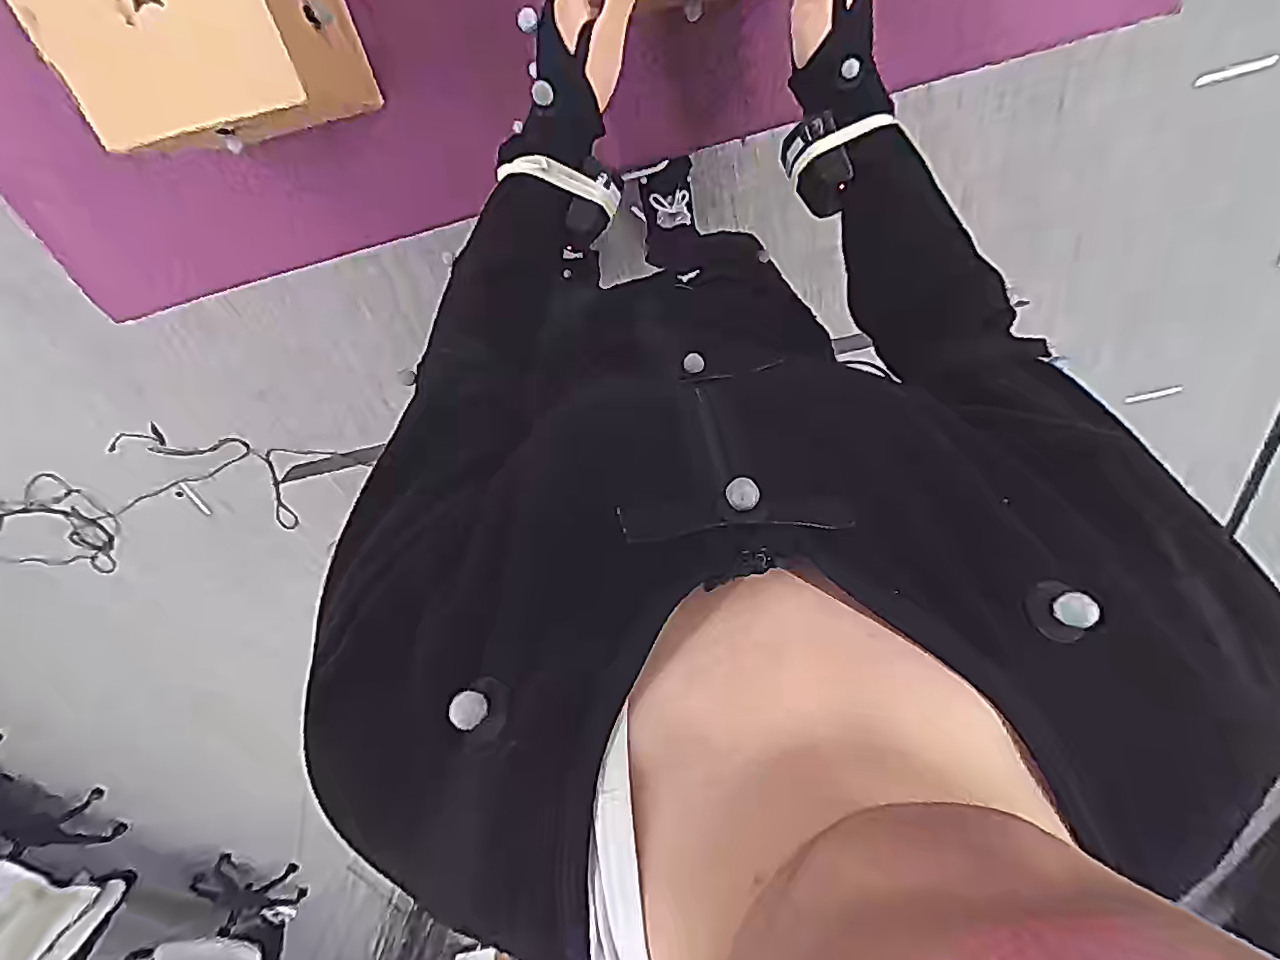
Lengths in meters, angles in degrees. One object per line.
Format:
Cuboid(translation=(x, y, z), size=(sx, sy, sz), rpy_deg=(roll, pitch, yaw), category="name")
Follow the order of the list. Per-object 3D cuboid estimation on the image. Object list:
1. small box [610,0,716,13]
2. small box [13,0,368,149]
Cuboid(translation=(0.040, -0.476, 0.396), size=(0.168, 0.176, 0.179), rpy_deg=(-6, 125, 2), category="small box")
Cuboid(translation=(-0.355, -0.389, 0.443), size=(0.179, 0.176, 0.168), rpy_deg=(-10, 124, 6), category="small box")
